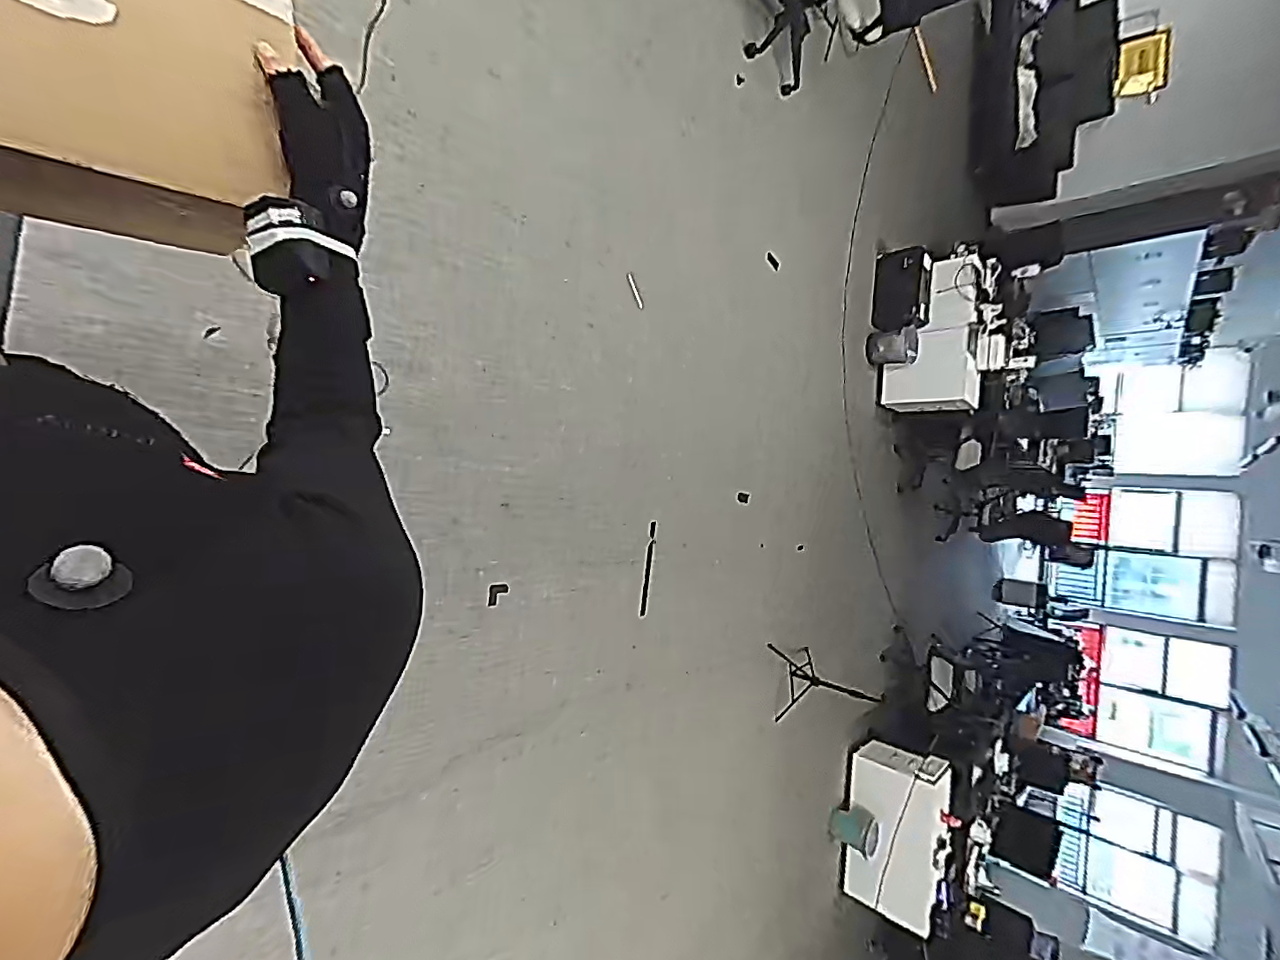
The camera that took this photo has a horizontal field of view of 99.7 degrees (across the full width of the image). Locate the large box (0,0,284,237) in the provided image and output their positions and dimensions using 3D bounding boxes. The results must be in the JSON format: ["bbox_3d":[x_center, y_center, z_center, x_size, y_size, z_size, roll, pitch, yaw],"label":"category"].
[{"bbox_3d":[-0.545,-0.406,0.404,0.408,0.320,0.320,-5,105,-46],"label":"large box"}]
